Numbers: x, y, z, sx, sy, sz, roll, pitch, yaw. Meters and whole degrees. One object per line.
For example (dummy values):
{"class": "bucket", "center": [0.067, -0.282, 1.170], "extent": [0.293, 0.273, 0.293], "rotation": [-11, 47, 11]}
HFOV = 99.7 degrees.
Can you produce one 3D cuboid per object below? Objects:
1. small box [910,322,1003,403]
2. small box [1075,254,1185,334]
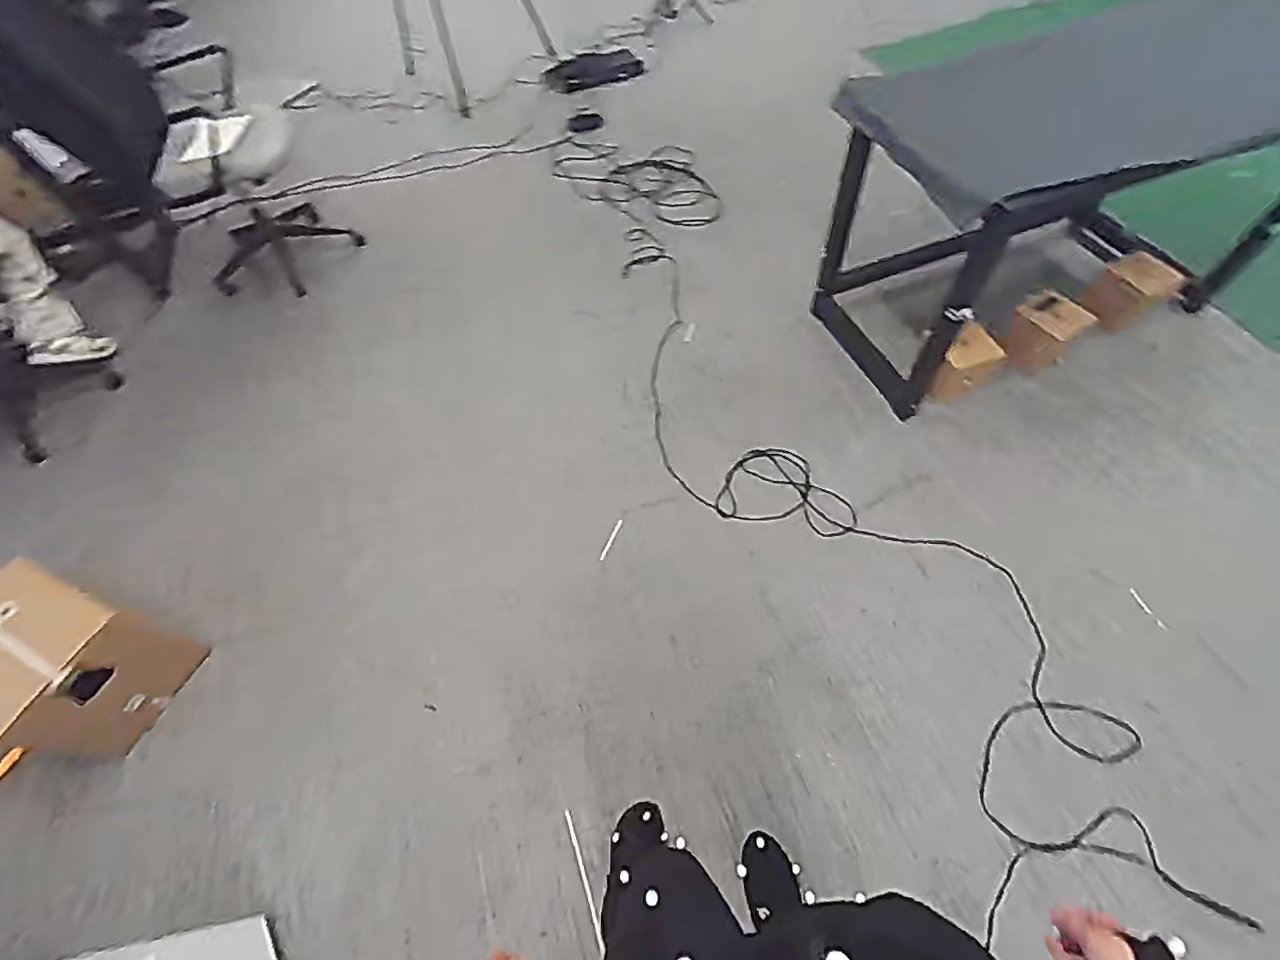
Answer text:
{"class": "small box", "center": [1.008, -0.369, 1.739], "extent": [0.168, 0.176, 0.179], "rotation": [-17, 58, -4]}
{"class": "small box", "center": [1.637, -0.616, 1.817], "extent": [0.168, 0.176, 0.179], "rotation": [-24, 59, -9]}
